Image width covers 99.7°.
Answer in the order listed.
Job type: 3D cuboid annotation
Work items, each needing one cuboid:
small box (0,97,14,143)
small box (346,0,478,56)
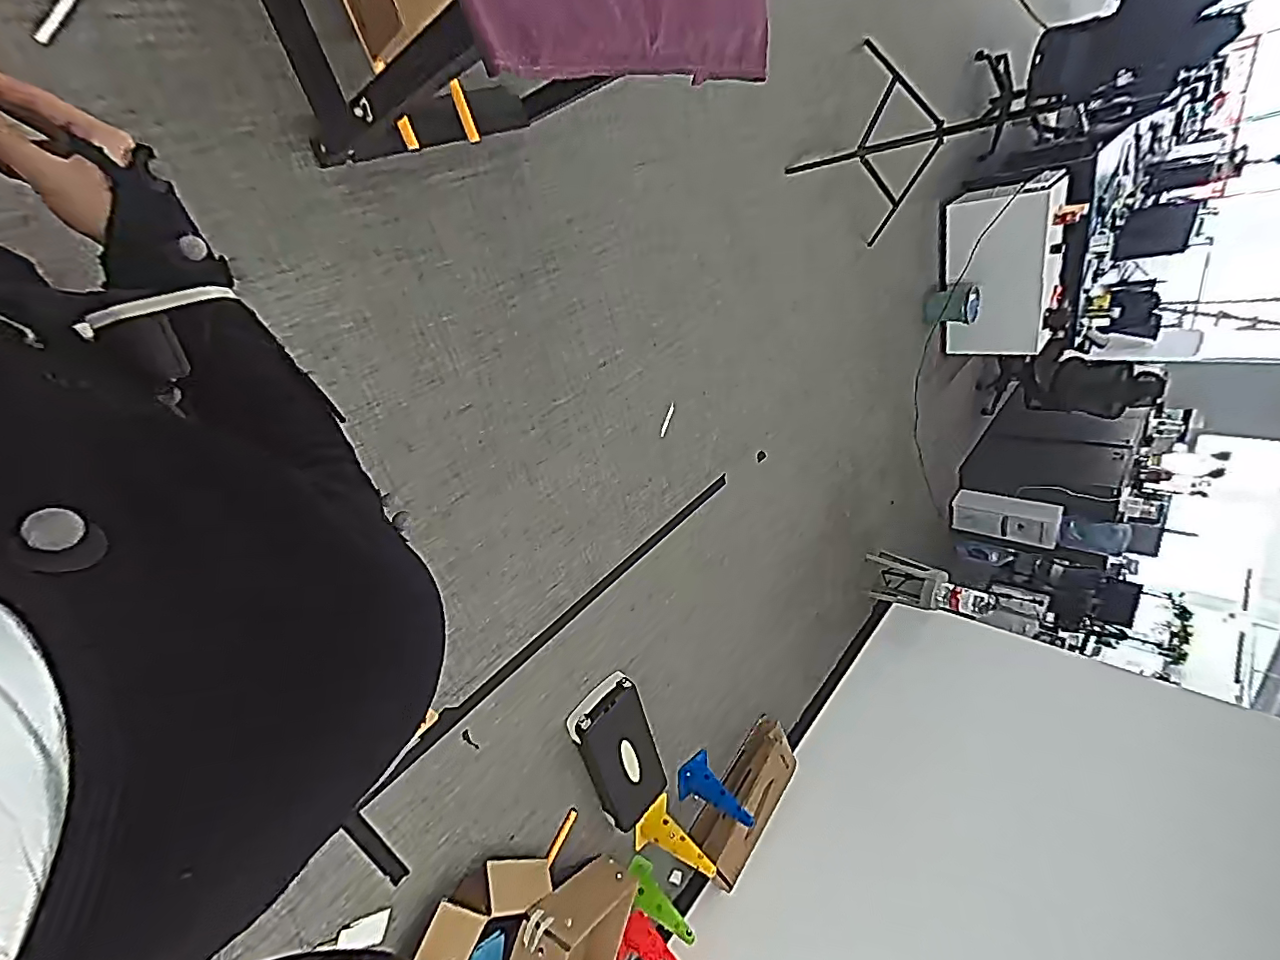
[{"bbox_3d":[-0.490,-0.289,0.286,0.168,0.176,0.179,-23,126,-38],"label":"small box"},{"bbox_3d":[-0.451,-0.948,1.038,0.179,0.176,0.168,-37,123,-32],"label":"small box"}]
